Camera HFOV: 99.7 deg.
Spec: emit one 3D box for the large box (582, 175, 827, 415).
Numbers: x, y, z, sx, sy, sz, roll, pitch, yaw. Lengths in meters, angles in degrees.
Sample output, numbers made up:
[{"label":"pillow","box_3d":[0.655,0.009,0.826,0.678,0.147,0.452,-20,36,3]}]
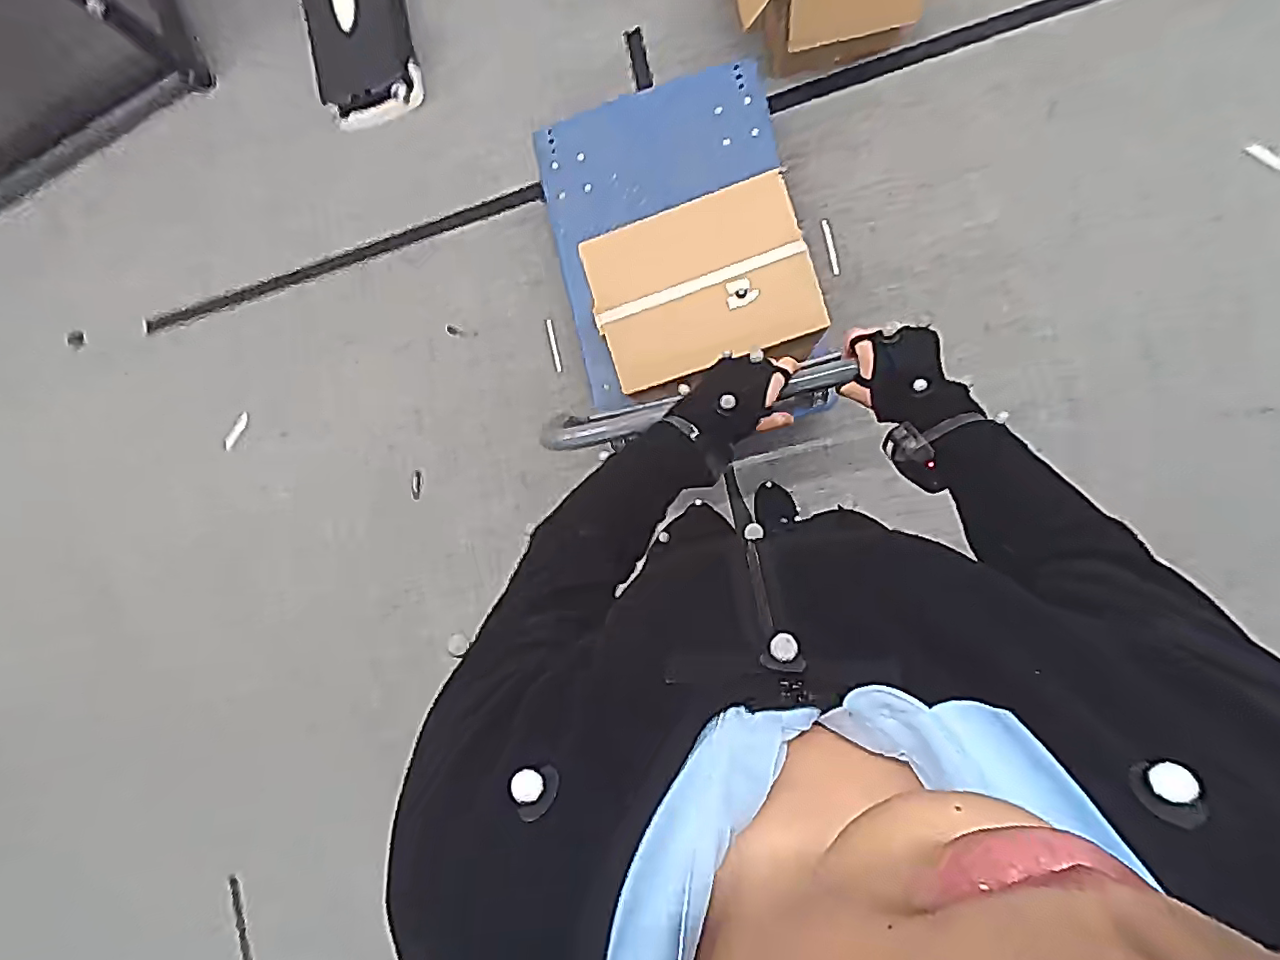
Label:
[{"label":"large box","box_3d":[0.134,-0.365,1.176,0.408,0.320,0.320,-18,88,7]}]
